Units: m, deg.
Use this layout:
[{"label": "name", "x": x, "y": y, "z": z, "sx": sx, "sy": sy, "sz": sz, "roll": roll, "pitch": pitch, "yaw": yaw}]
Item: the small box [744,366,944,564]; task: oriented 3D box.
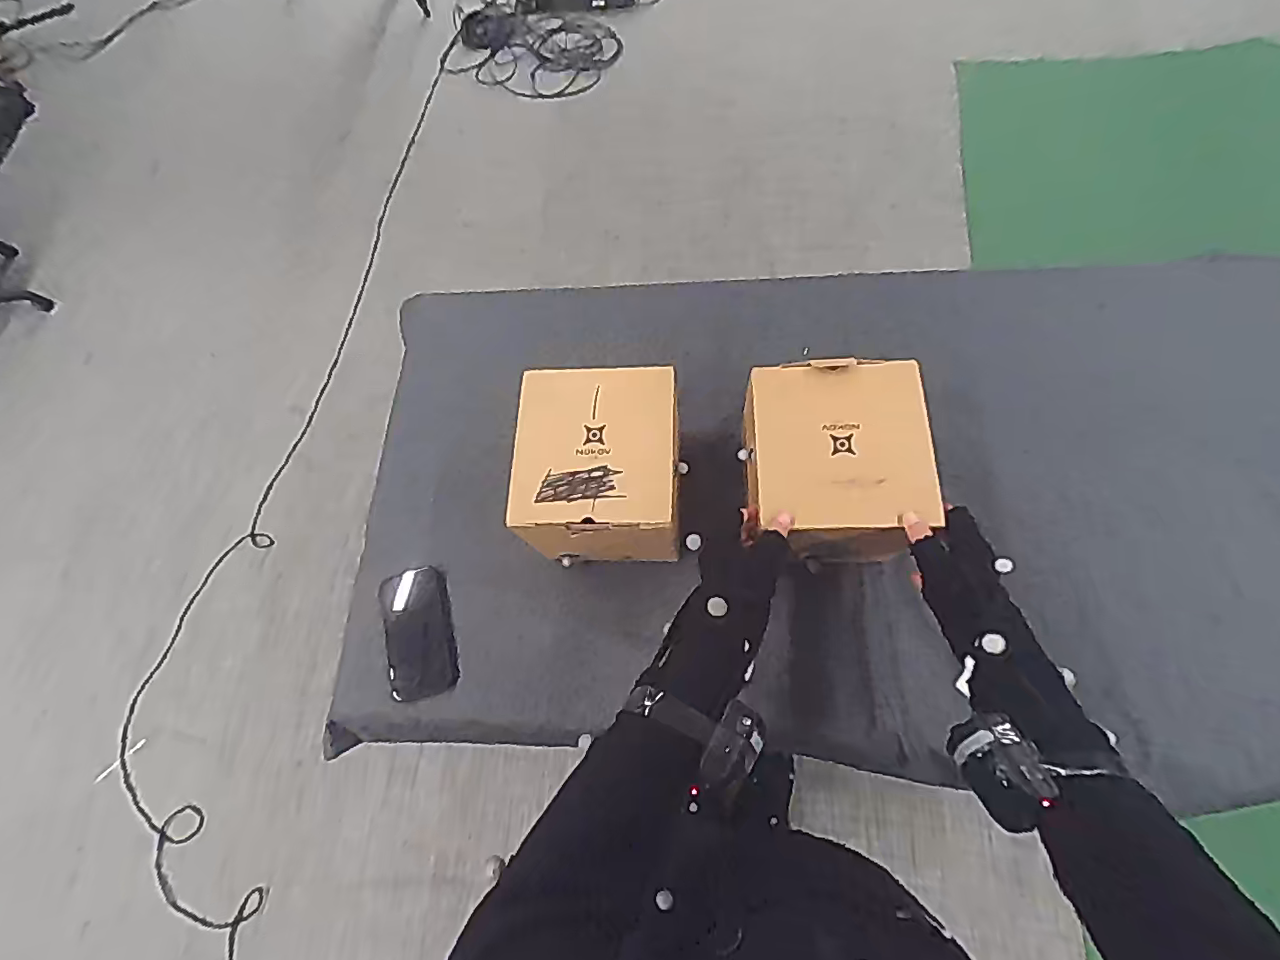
[{"label": "small box", "x": 0.209, "y": -0.007, "z": 0.608, "sx": 0.168, "sy": 0.176, "sz": 0.179, "roll": -2, "pitch": 71, "yaw": 7}]

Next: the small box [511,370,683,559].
[{"label": "small box", "x": -0.036, "y": -0.009, "z": 0.630, "sx": 0.168, "sy": 0.176, "sz": 0.179, "roll": 0, "pitch": 69, "yaw": 6}]
